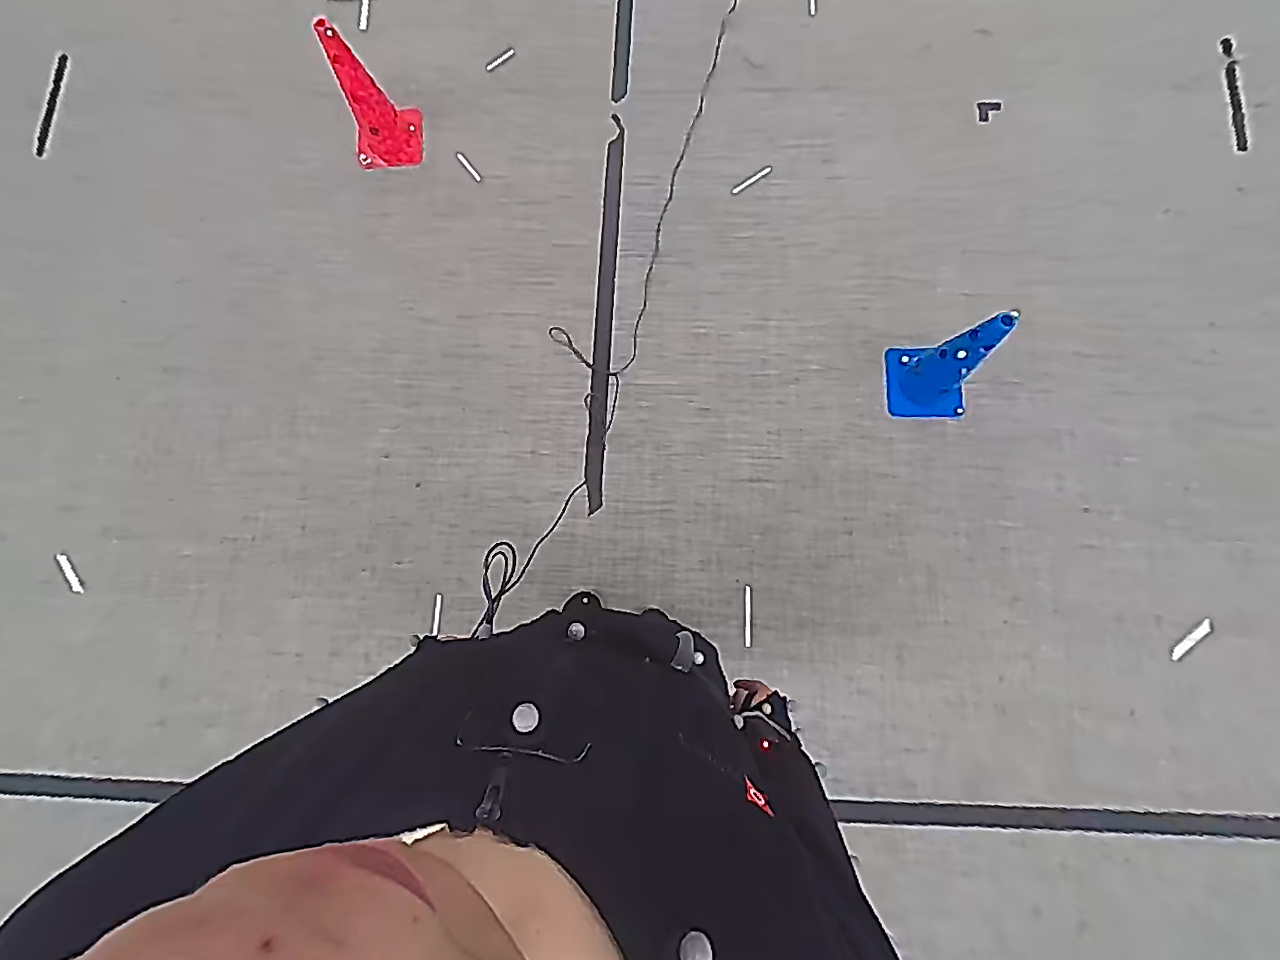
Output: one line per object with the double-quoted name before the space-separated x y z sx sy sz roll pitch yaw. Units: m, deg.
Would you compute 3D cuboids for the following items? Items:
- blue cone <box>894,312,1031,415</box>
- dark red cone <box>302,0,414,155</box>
"blue cone" 0.777 -0.296 1.292 0.192 0.380 0.193 3 79 1
"dark red cone" -0.782 -1.096 1.464 0.201 0.394 0.202 -5 79 0
